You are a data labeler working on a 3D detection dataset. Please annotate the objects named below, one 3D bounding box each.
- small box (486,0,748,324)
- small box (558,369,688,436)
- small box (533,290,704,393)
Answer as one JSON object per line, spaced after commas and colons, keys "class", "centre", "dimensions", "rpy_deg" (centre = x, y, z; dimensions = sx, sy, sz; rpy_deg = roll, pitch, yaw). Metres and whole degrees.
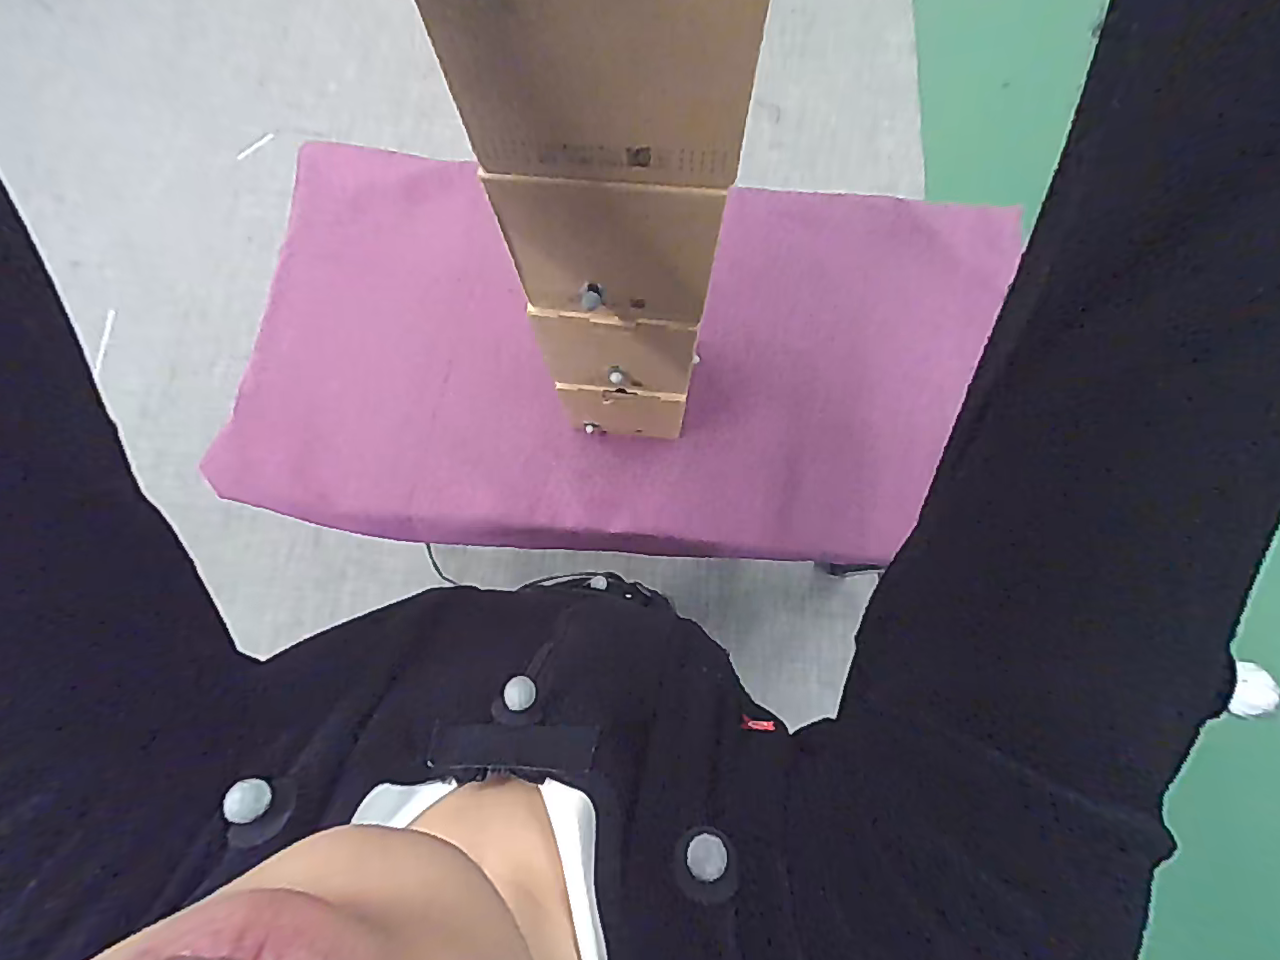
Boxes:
{"class": "small box", "centre": [-0.012, -0.257, 0.452], "dimensions": [0.168, 0.176, 0.179], "rpy_deg": [6, 77, 2]}
{"class": "small box", "centre": [-0.010, -0.172, 0.767], "dimensions": [0.168, 0.176, 0.179], "rpy_deg": [7, 77, 2]}
{"class": "small box", "centre": [-0.012, -0.216, 0.609], "dimensions": [0.168, 0.176, 0.179], "rpy_deg": [6, 78, 2]}
